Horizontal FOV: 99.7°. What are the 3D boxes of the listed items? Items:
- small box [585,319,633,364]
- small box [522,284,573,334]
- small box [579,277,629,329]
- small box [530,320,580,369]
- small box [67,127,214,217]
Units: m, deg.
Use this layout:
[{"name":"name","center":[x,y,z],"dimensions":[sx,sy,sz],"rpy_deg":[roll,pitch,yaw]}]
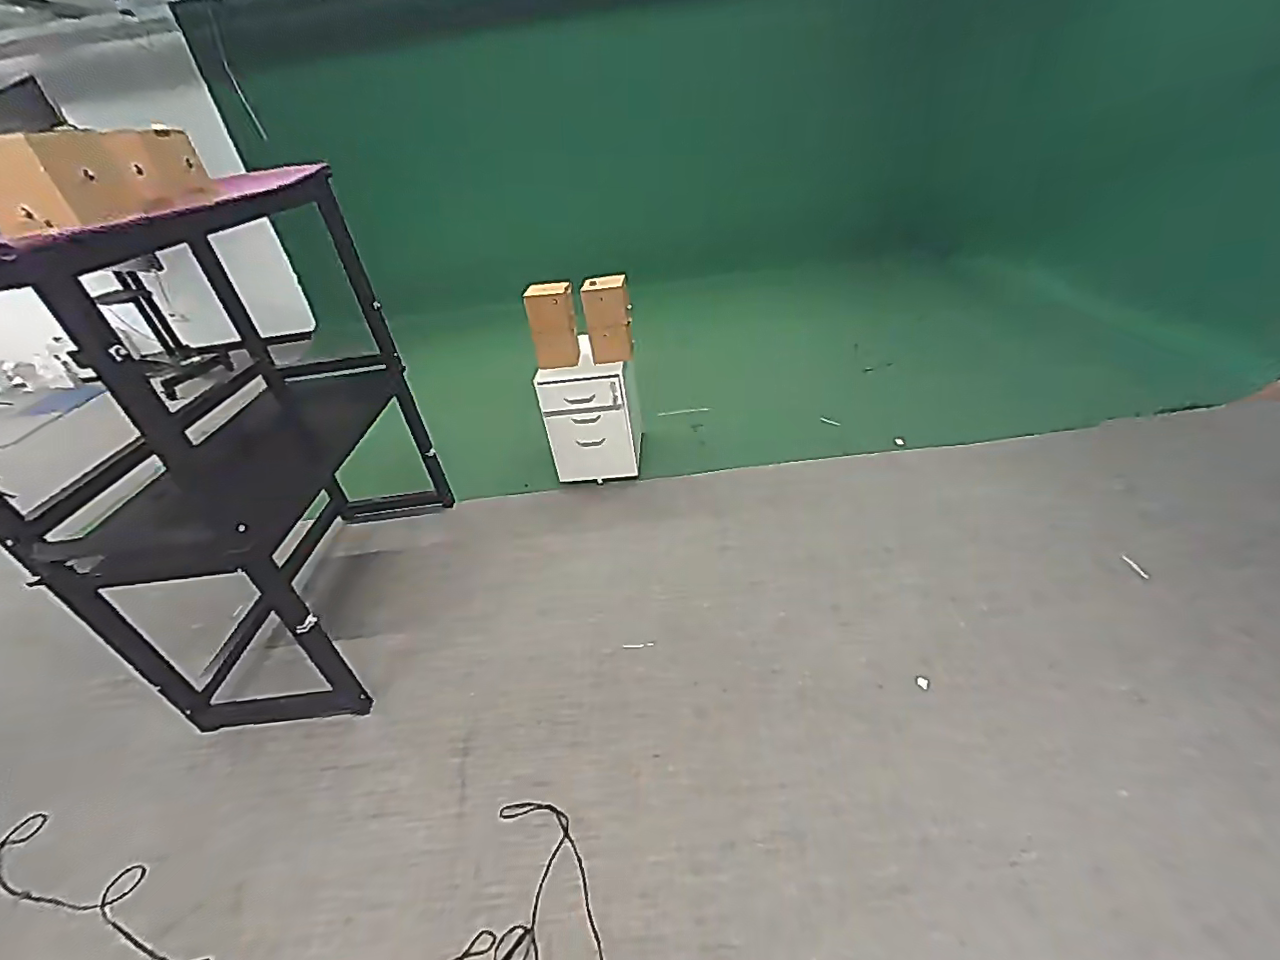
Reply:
[{"name":"small box","center":[-0.136,-0.632,2.434],"dimensions":[0.179,0.176,0.168],"rpy_deg":[-4,36,8]},{"name":"small box","center":[-0.402,-0.751,2.377],"dimensions":[0.179,0.176,0.168],"rpy_deg":[-3,35,5]},{"name":"small box","center":[-0.151,-0.763,2.335],"dimensions":[0.179,0.176,0.168],"rpy_deg":[-4,35,8]},{"name":"small box","center":[-0.383,-0.616,2.469],"dimensions":[0.179,0.176,0.168],"rpy_deg":[-5,35,5]},{"name":"small box","center":[-1.237,-0.774,1.358],"dimensions":[0.179,0.176,0.168],"rpy_deg":[-6,33,4]}]
